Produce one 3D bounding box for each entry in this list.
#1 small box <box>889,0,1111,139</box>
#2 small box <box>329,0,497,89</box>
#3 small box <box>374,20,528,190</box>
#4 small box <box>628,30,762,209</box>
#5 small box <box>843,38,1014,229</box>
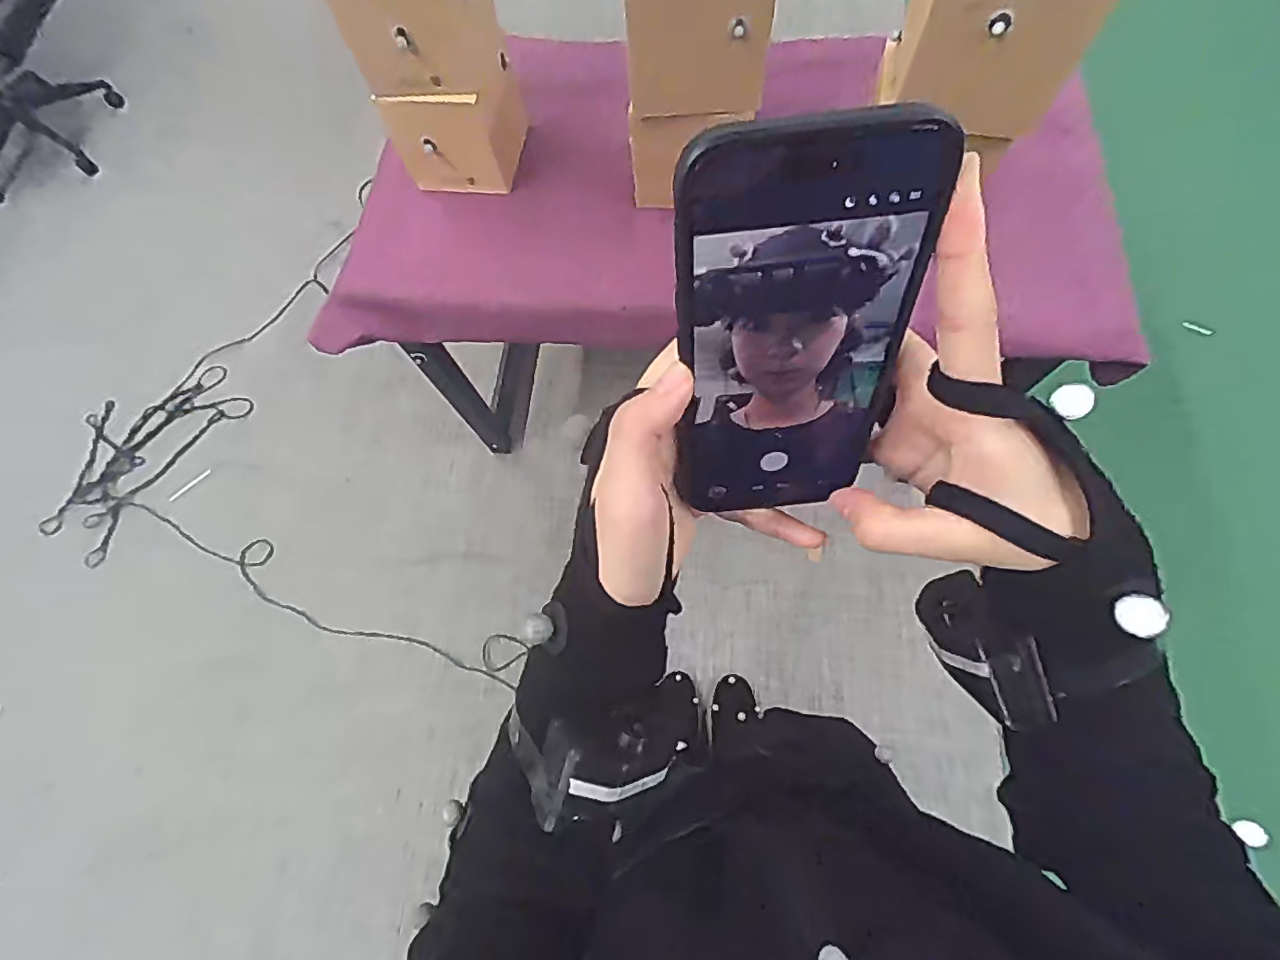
[{"bbox_3d":[0.415,-0.541,0.640,0.179,0.176,0.168,12,72,8],"label":"small box"},{"bbox_3d":[-0.309,-0.673,0.742,0.168,0.176,0.179,2,71,4],"label":"small box"},{"bbox_3d":[-0.297,-0.611,0.894,0.168,0.176,0.179,7,71,7],"label":"small box"},{"bbox_3d":[0.086,-0.551,0.842,0.179,0.176,0.168,6,71,7],"label":"small box"},{"bbox_3d":[0.420,-0.502,0.800,0.179,0.176,0.168,12,72,9],"label":"small box"}]
